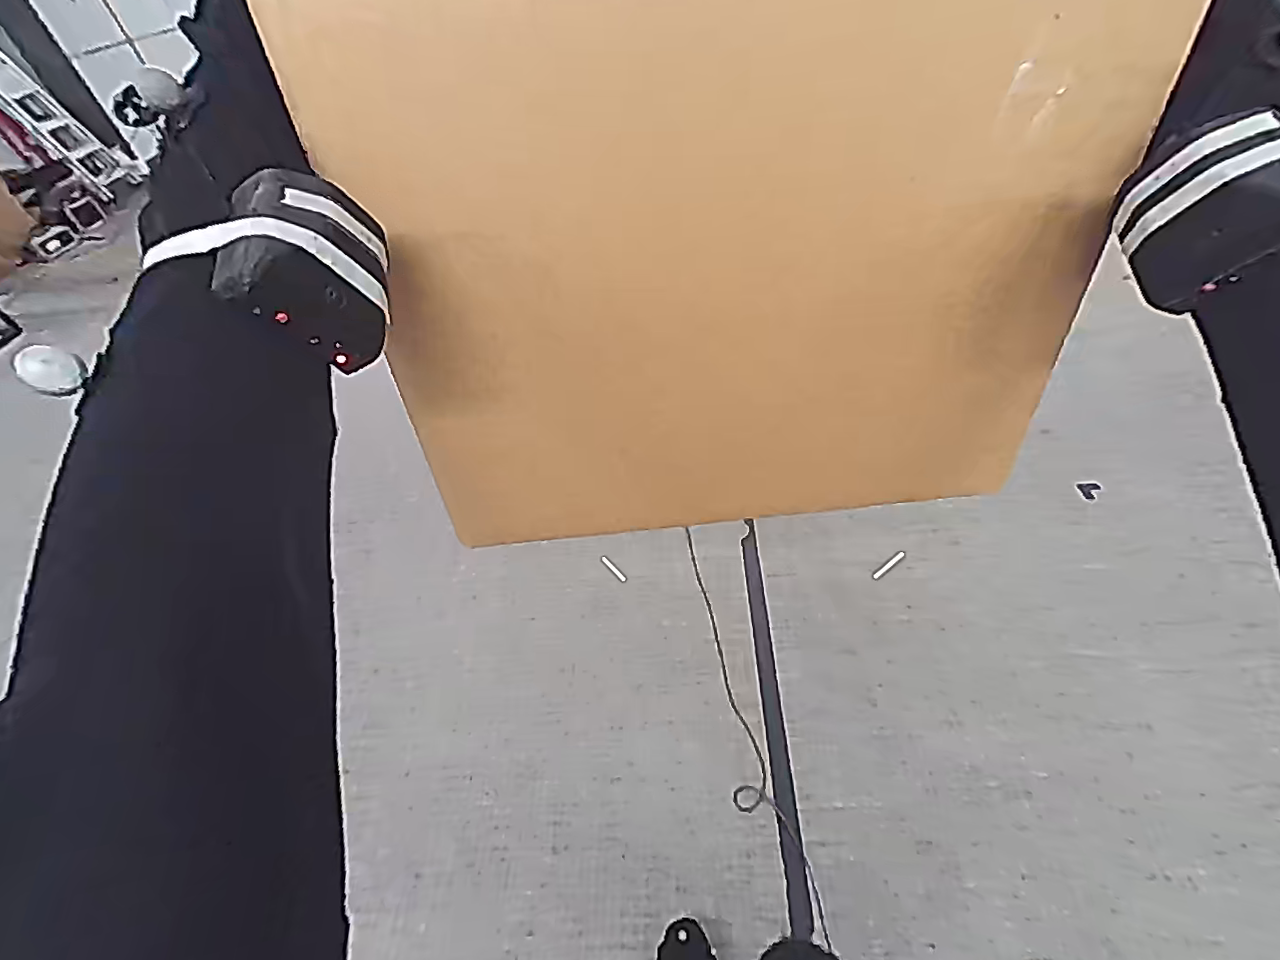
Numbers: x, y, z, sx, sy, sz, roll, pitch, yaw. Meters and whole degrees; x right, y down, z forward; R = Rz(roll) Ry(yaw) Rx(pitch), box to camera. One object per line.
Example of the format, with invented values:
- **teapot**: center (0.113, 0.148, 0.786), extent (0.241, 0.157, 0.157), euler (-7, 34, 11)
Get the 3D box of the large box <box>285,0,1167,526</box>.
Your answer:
- **large box**: center (0.042, -0.190, 0.433), extent (0.408, 0.320, 0.320), euler (-5, 38, -2)
